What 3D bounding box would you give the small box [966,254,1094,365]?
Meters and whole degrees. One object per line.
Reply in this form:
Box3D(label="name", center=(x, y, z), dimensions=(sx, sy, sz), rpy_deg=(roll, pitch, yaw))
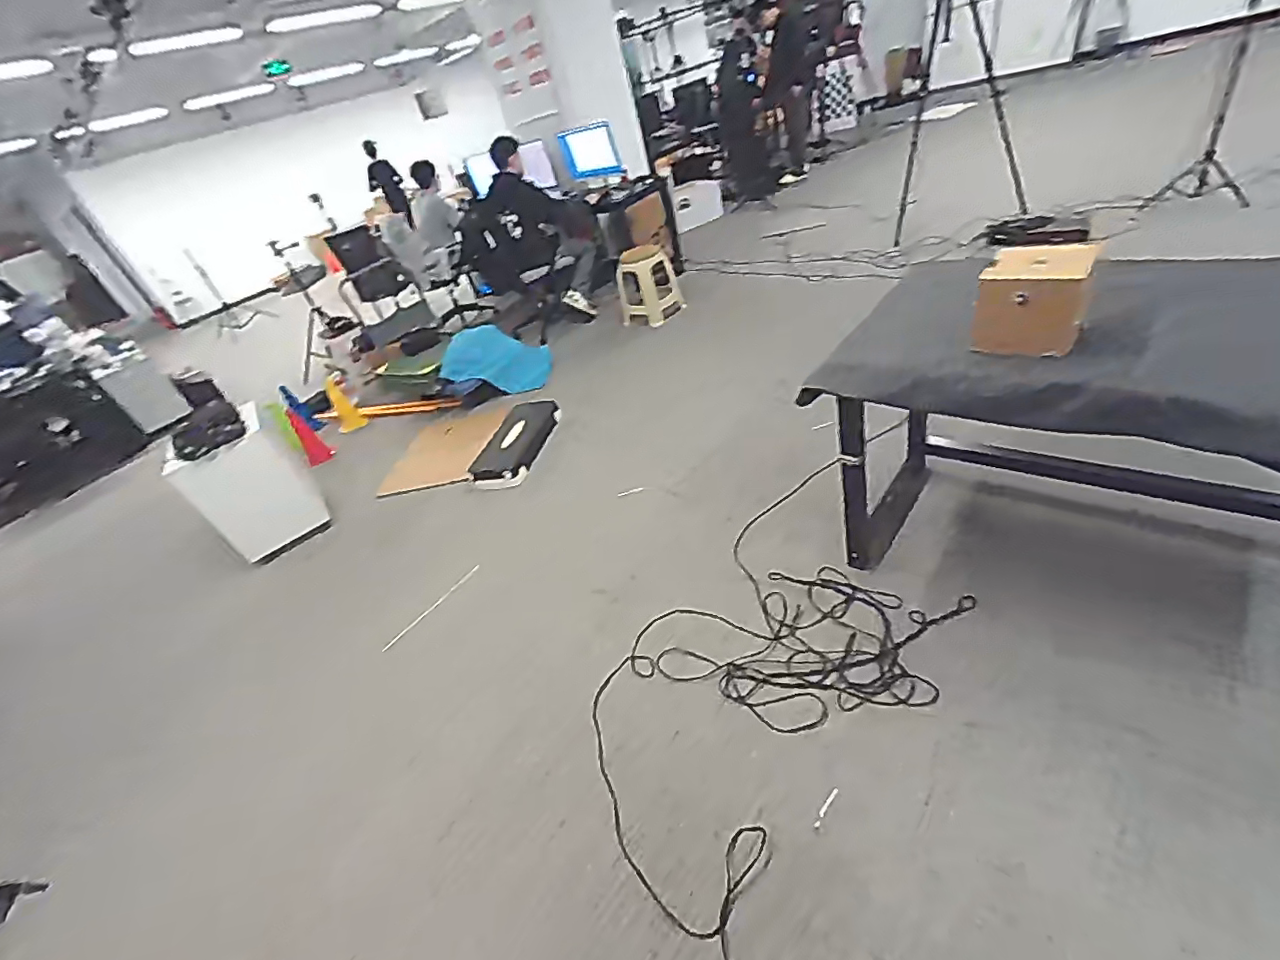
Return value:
Box3D(label="small box", center=(0.807, -0.357, 1.133), dimensions=(0.179, 0.176, 0.168), rpy_deg=(19, 50, 39))
